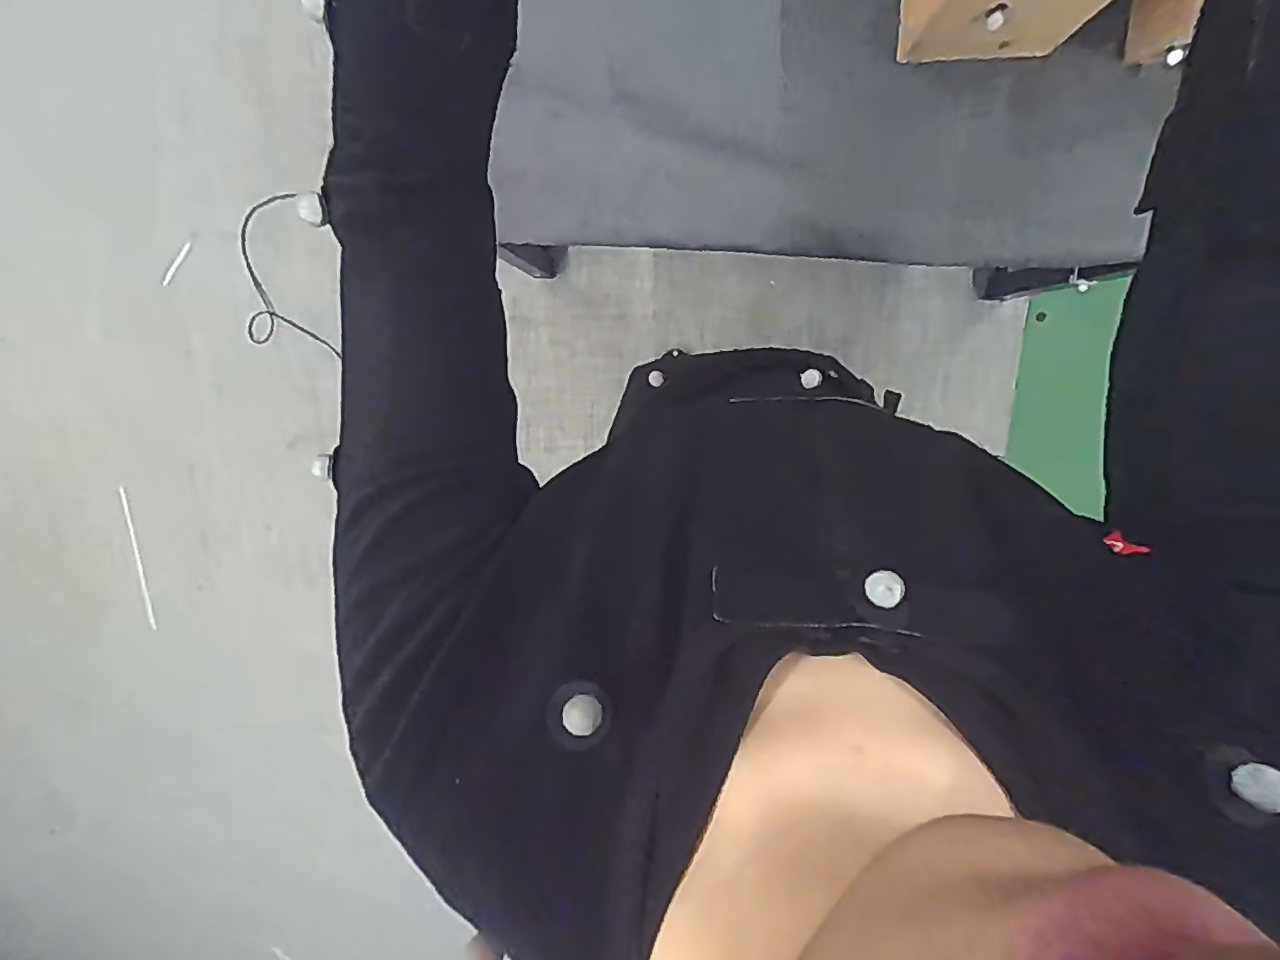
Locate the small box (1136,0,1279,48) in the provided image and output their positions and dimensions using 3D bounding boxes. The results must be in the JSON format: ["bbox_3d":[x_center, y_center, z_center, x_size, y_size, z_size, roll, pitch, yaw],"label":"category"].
[{"bbox_3d":[0.604,-0.525,0.485,0.168,0.176,0.179,0,102,5],"label":"small box"}]

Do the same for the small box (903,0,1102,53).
[{"bbox_3d":[0.364,-0.536,0.505,0.168,0.176,0.179,0,102,5],"label":"small box"}]
